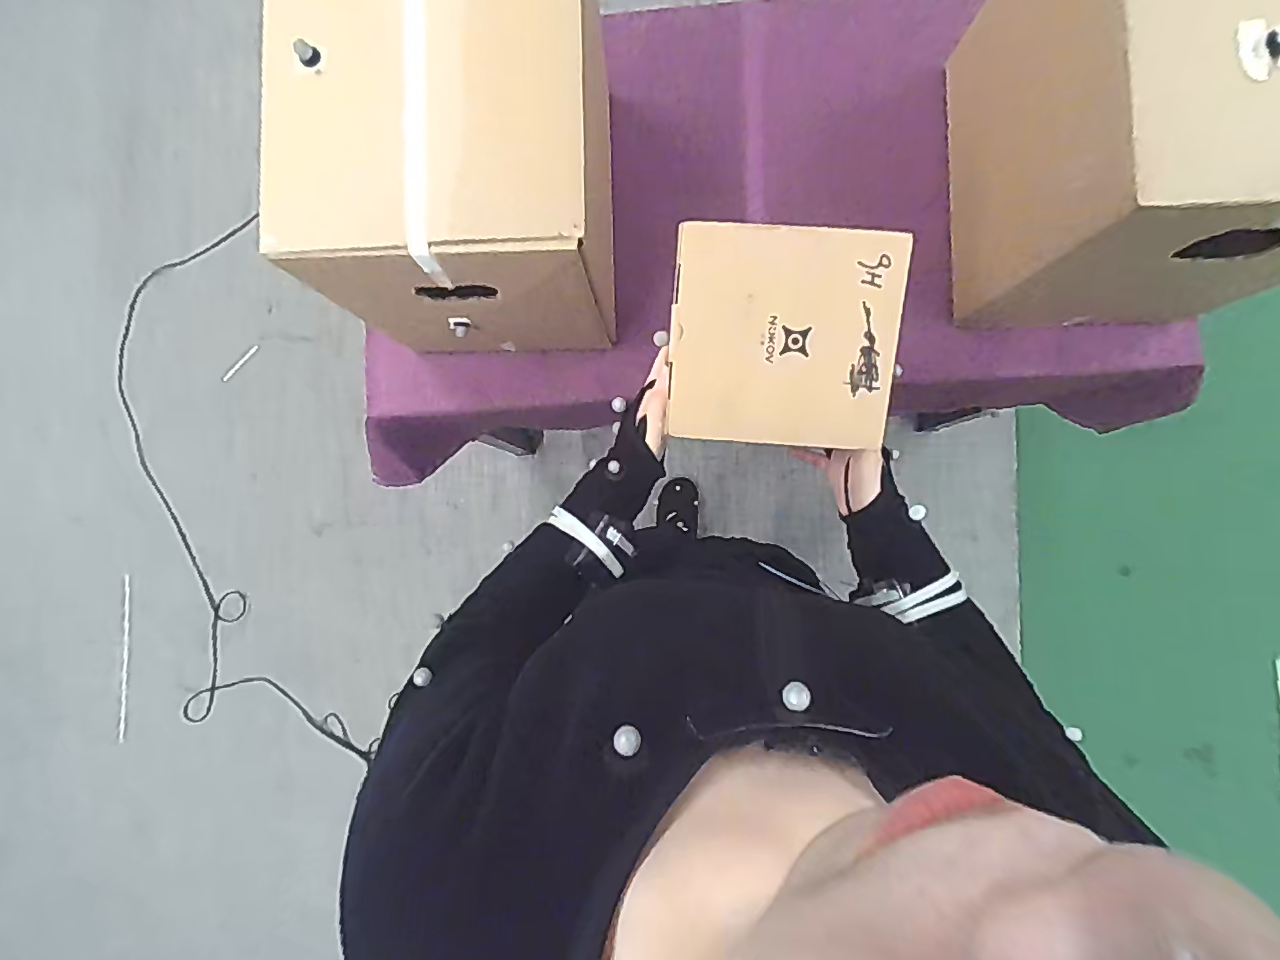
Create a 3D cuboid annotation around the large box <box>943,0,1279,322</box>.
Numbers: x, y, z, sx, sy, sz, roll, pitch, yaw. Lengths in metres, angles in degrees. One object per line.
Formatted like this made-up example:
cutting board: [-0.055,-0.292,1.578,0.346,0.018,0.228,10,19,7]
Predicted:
large box: [0.599,-0.434,0.643,0.320,0.320,0.408,0,87,2]
